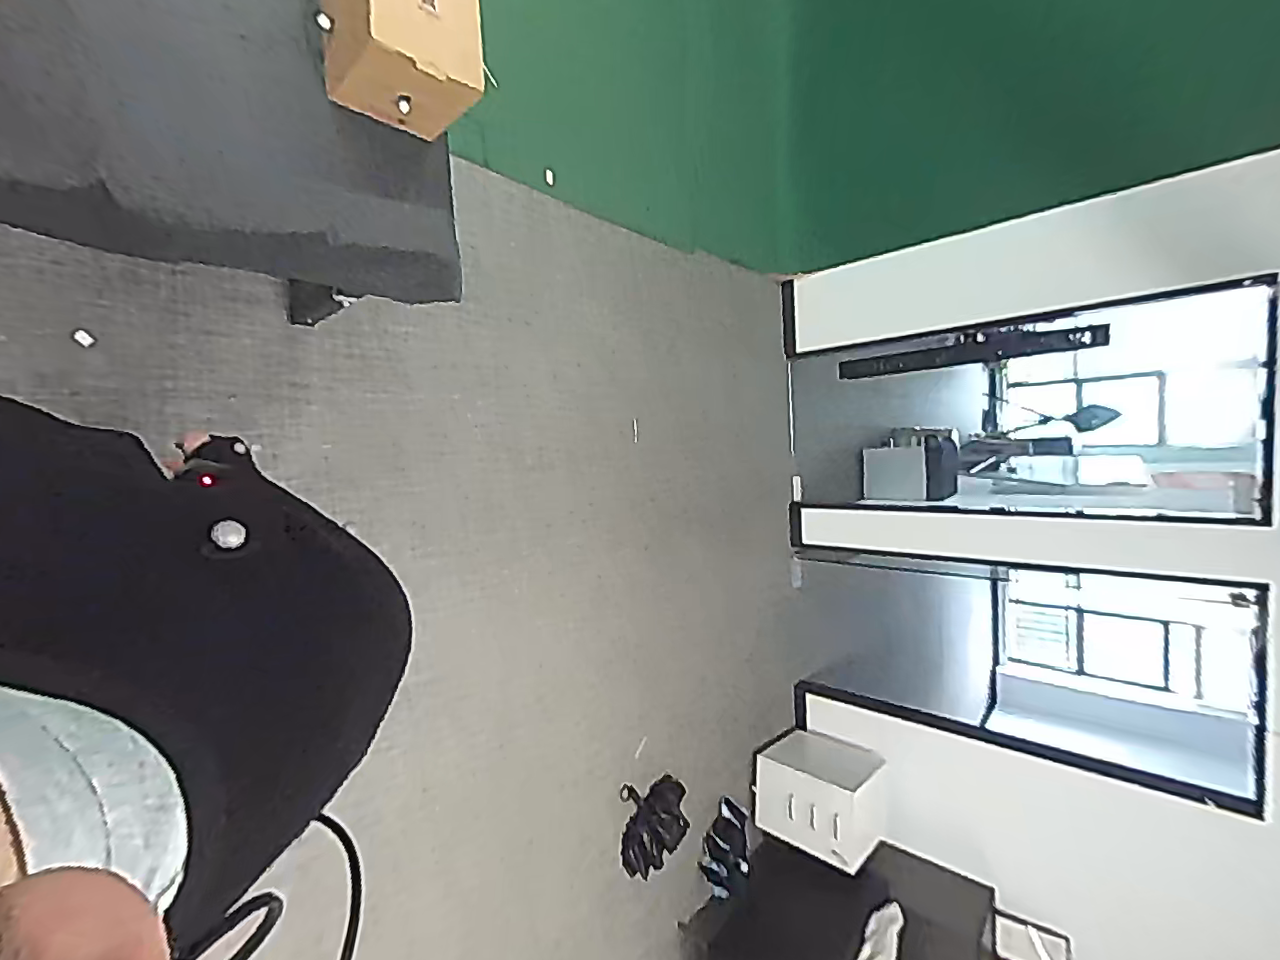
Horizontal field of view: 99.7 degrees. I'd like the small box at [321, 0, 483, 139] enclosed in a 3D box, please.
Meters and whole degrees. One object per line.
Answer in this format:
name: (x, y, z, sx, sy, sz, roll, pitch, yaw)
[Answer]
small box: (-0.349, -0.643, 0.792, 0.168, 0.176, 0.179, -6, 95, -48)
